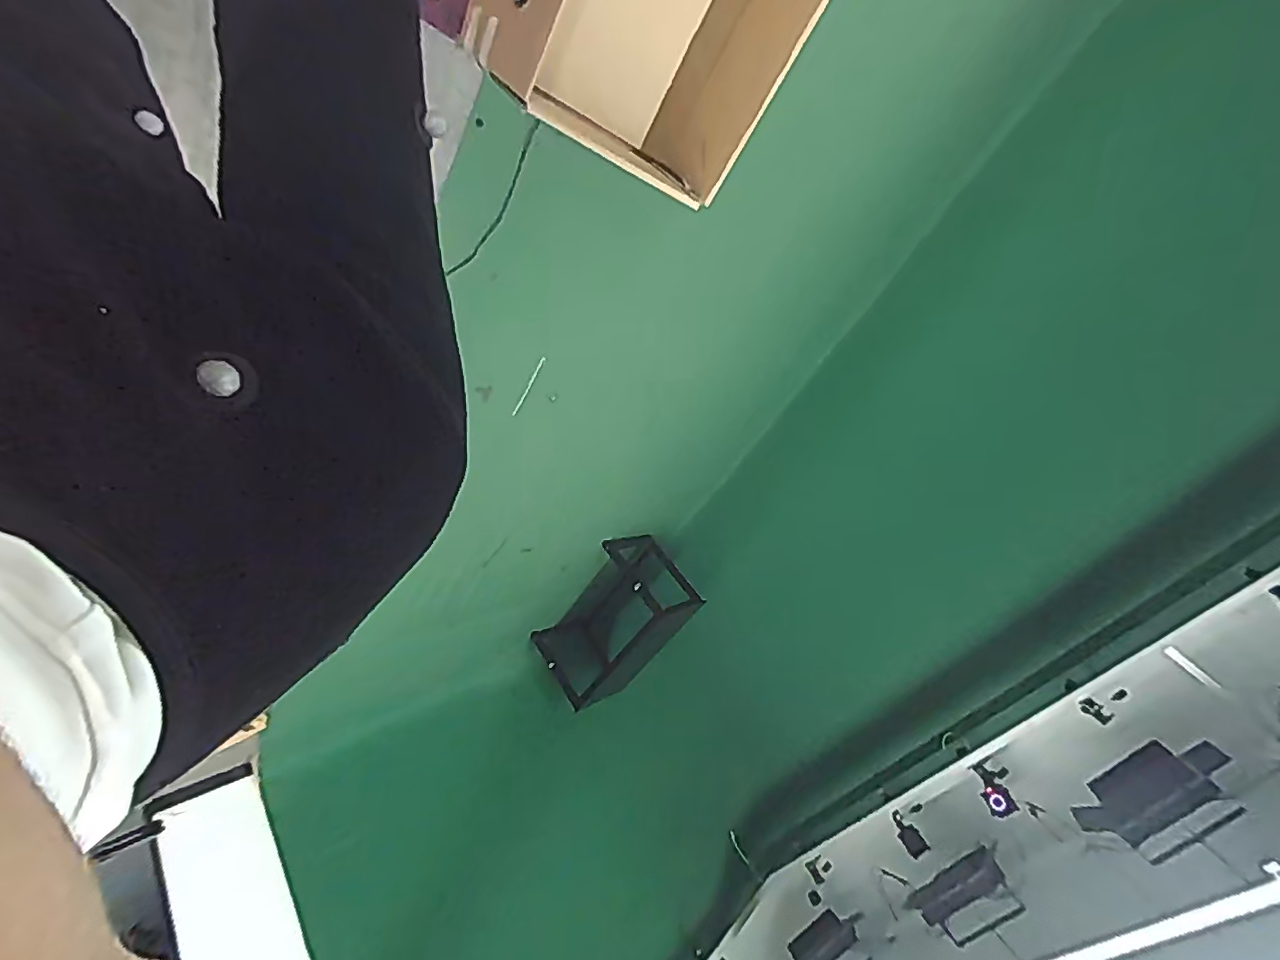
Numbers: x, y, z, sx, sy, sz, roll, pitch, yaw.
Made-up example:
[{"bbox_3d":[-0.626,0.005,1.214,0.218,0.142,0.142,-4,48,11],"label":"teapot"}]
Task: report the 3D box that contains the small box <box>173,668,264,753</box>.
[{"bbox_3d":[-1.367,0.742,1.754,0.179,0.176,0.168,-24,151,-30],"label":"small box"}]
